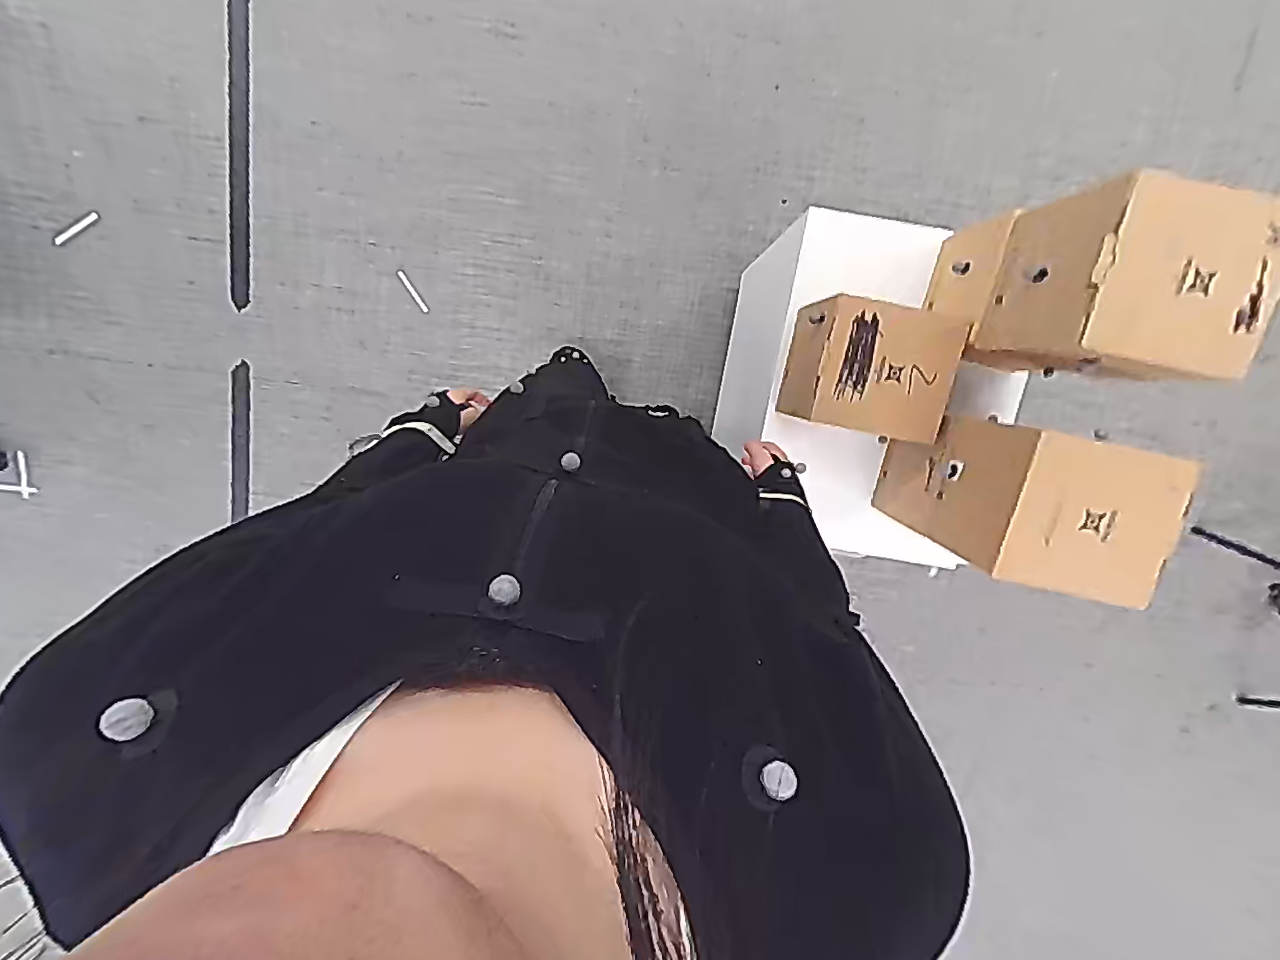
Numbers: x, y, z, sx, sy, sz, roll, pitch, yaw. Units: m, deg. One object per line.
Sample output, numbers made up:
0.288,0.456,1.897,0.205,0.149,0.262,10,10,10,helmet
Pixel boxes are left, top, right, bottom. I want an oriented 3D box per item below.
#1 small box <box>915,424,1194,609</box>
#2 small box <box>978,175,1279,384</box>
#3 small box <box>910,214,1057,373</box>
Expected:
0.471,0.031,0.646,0.179,0.176,0.168,12,100,-1,small box
0.521,-0.205,0.598,0.179,0.176,0.168,12,102,-2,small box
0.515,-0.246,0.758,0.179,0.176,0.168,13,102,-2,small box
